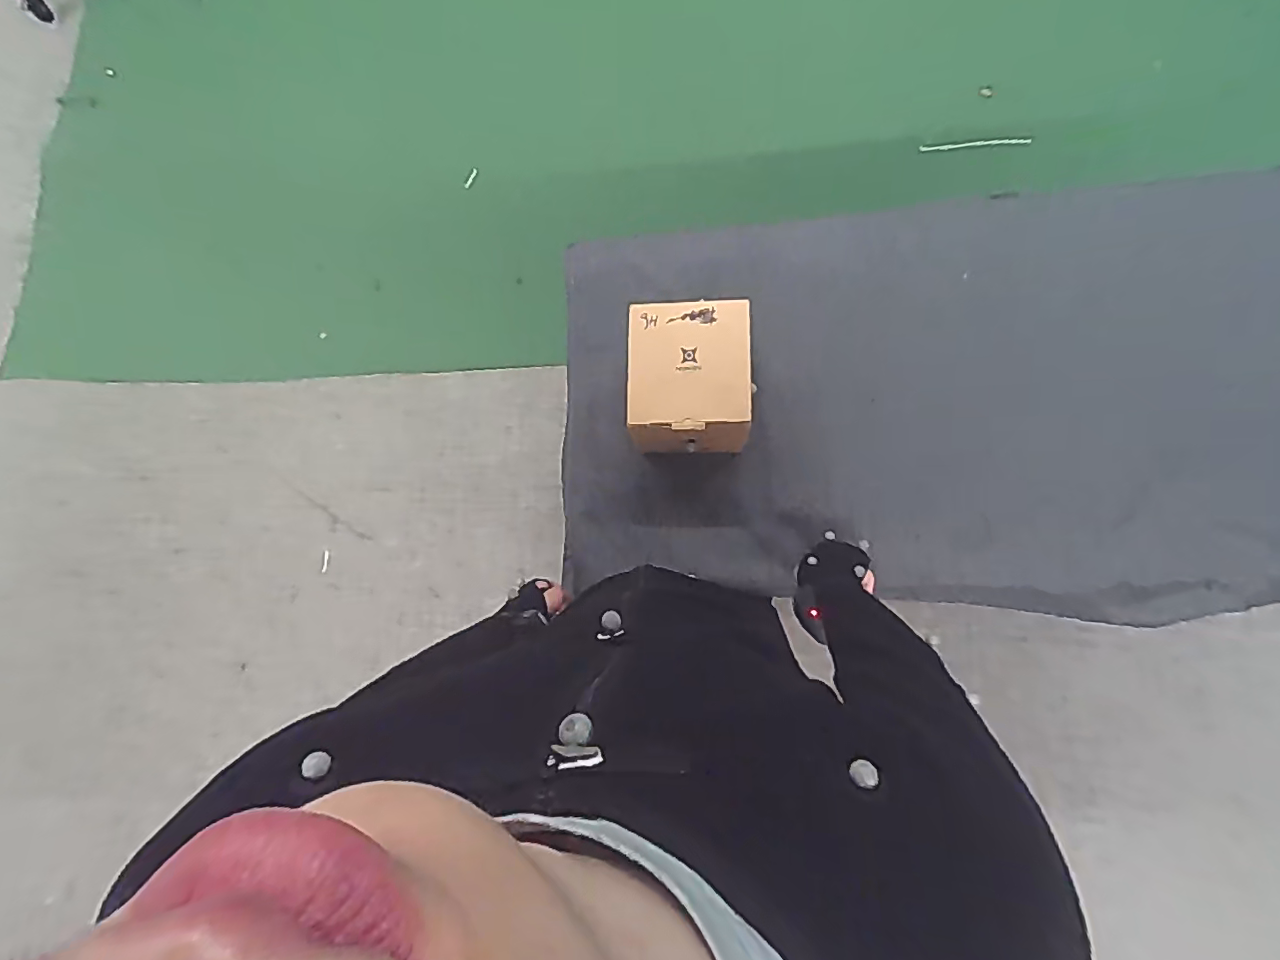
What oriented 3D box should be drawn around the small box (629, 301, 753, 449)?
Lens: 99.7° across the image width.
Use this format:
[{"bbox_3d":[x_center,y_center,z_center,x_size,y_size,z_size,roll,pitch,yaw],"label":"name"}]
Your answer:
[{"bbox_3d":[0.078,-0.144,0.802,0.168,0.176,0.179,0,81,7],"label":"small box"}]
